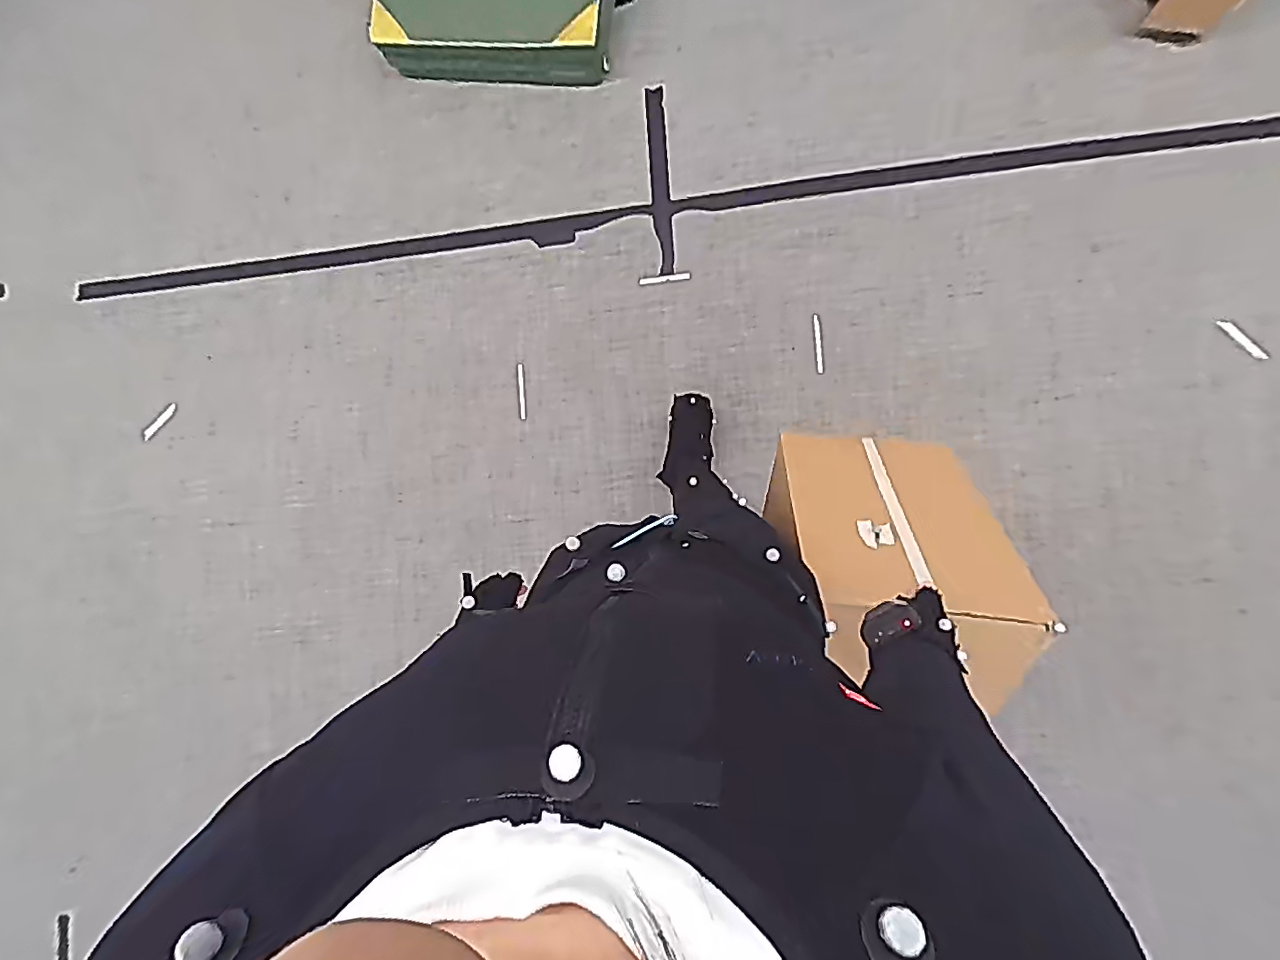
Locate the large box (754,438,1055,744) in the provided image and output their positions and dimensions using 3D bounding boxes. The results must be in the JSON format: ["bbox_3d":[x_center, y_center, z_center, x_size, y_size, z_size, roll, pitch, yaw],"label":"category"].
[{"bbox_3d":[0.389,0.173,0.938,0.320,0.408,0.320,5,128,4],"label":"large box"}]
